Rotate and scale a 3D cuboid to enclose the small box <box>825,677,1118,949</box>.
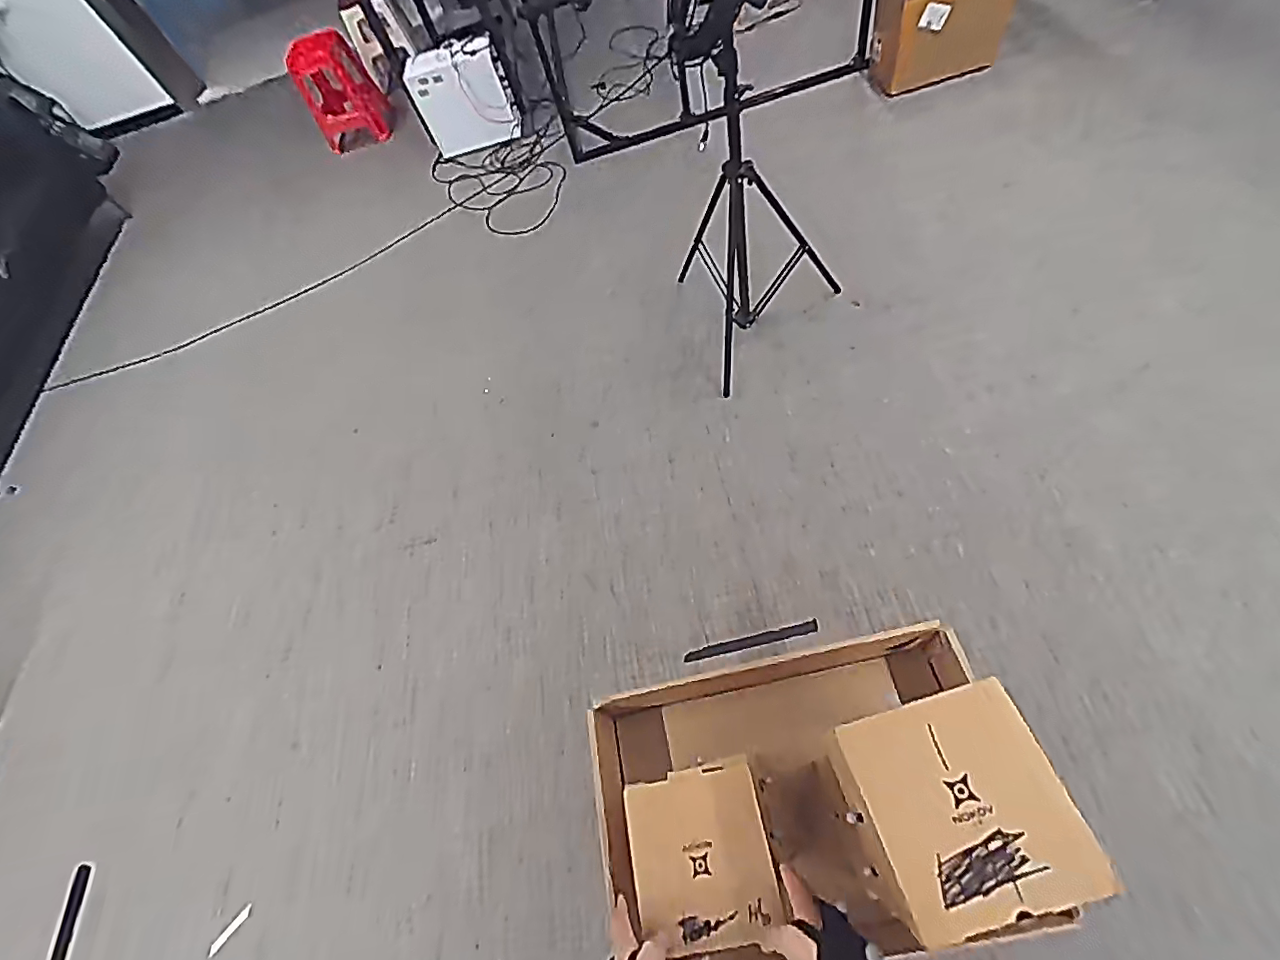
[{"bbox_3d":[0.303,0.321,0.545,0.168,0.176,0.179,-20,58,3],"label":"small box"}]

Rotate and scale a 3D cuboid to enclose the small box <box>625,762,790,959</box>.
[{"bbox_3d":[0.089,0.483,0.702,0.168,0.176,0.179,-15,57,7],"label":"small box"}]
